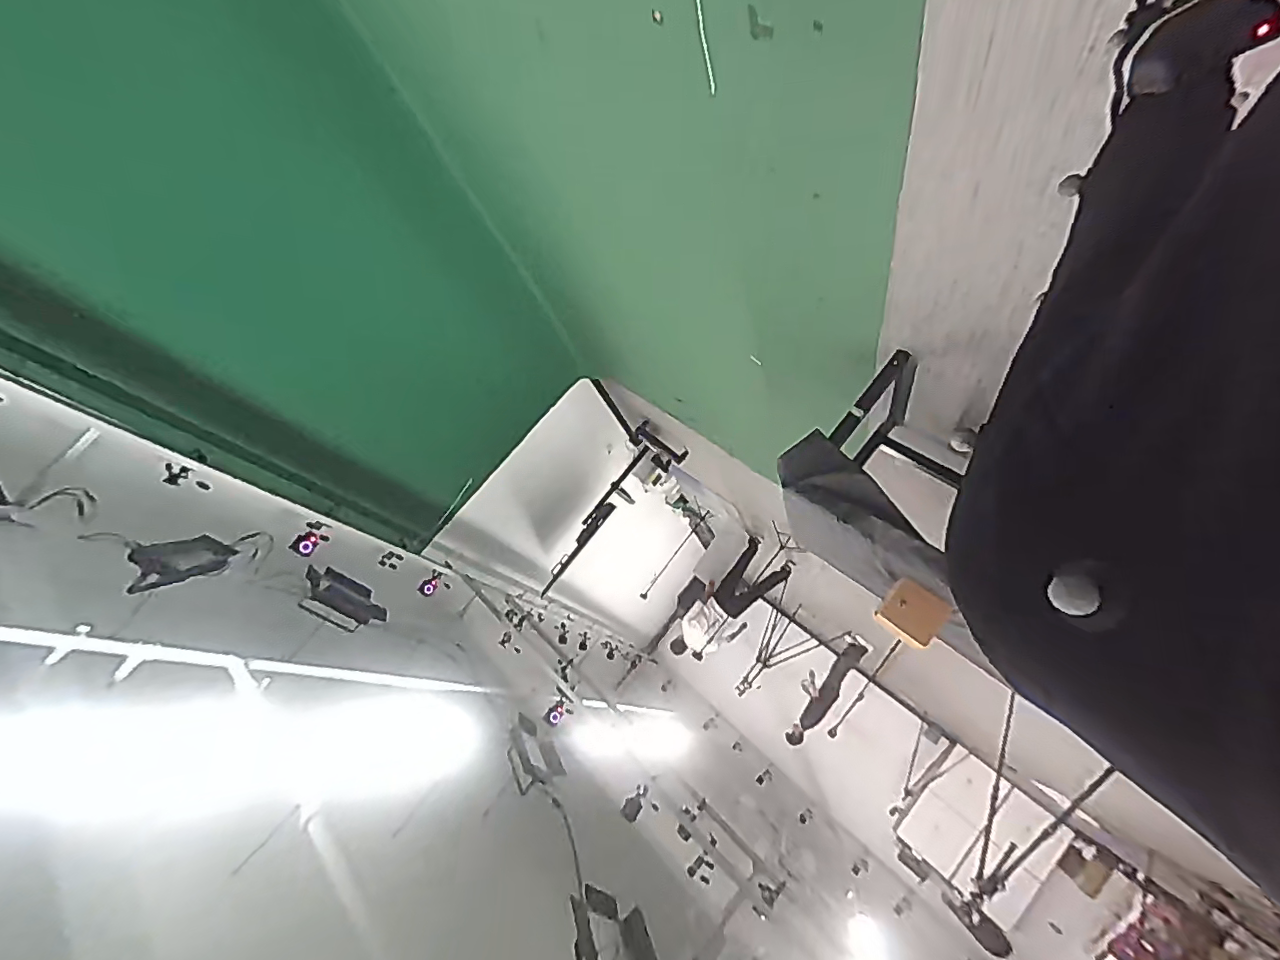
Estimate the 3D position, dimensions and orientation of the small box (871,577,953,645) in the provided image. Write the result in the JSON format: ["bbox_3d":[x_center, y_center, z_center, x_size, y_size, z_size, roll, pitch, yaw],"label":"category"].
[{"bbox_3d":[0.949,0.455,1.894,0.179,0.176,0.168,37,173,21],"label":"small box"}]
